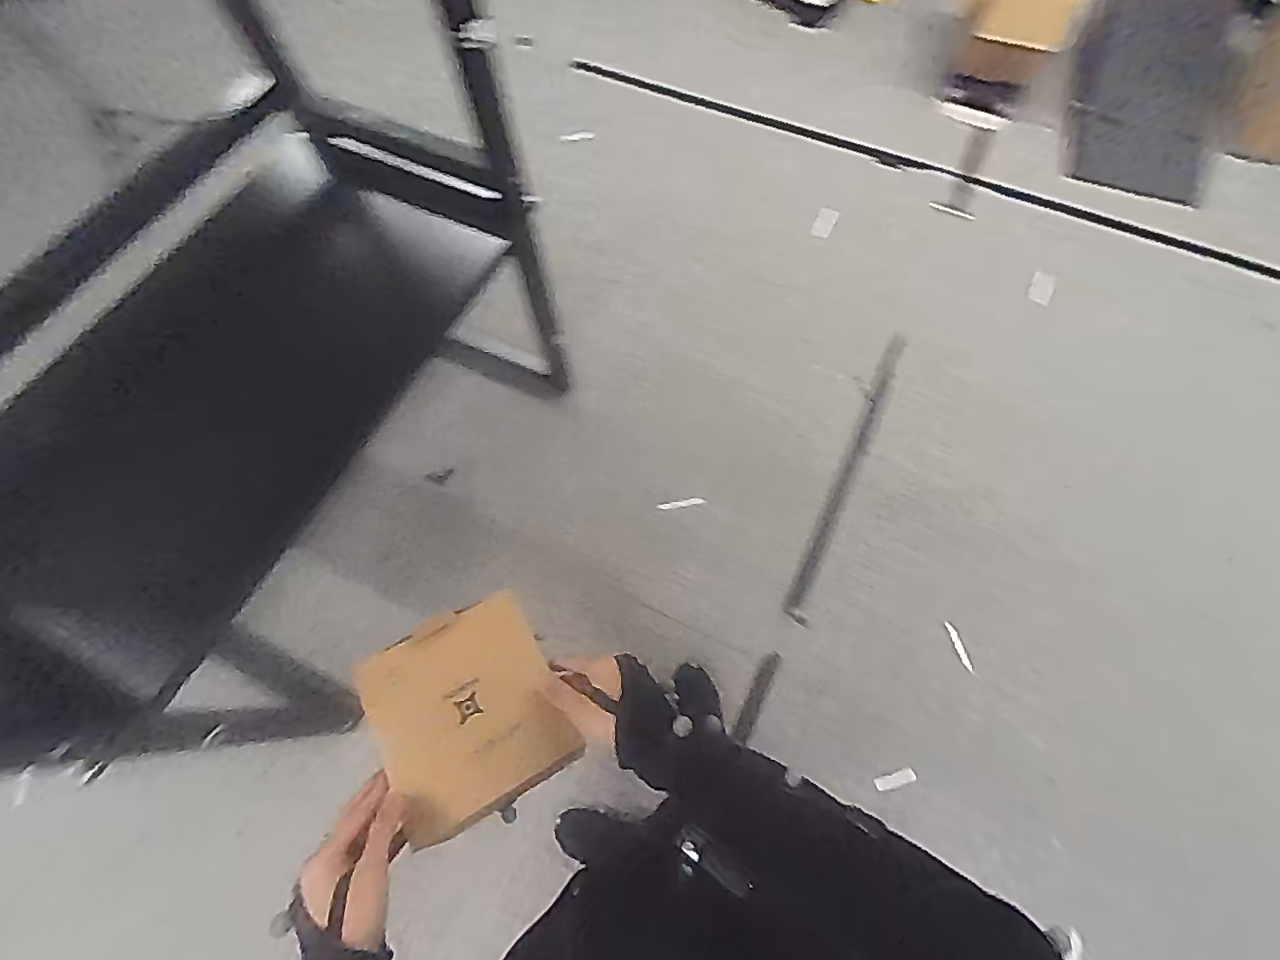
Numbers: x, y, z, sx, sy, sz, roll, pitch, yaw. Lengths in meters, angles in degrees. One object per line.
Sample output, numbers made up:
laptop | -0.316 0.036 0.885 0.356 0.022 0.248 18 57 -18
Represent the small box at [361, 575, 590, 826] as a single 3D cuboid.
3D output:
small box | -0.165 0.235 0.575 0.168 0.176 0.179 -24 64 -18
